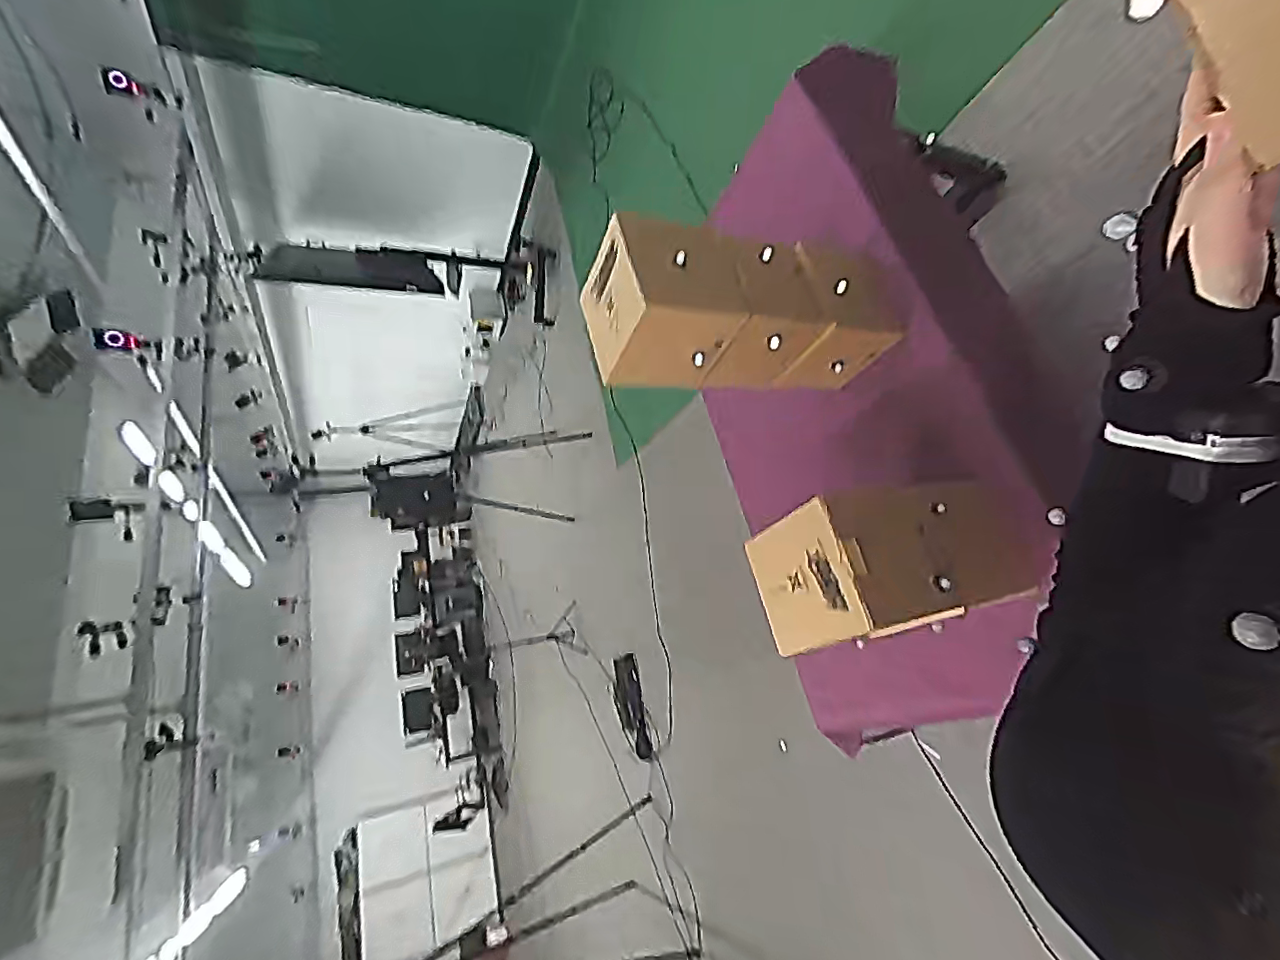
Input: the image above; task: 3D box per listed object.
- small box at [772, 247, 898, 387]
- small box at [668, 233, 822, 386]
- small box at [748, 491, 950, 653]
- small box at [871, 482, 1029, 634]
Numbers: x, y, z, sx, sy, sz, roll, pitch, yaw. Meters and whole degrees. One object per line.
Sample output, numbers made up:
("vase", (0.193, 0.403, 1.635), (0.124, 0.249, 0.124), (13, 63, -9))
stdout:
("small box", (0.321, -0.283, 0.965), (0.168, 0.176, 0.179), (-45, 54, 55))
("small box", (0.174, -0.272, 0.895), (0.179, 0.176, 0.168), (-49, 50, 54))
("small box", (0.283, 0.123, 0.738), (0.179, 0.176, 0.168), (-50, 49, 55))
("small box", (0.429, 0.115, 0.811), (0.168, 0.176, 0.179), (-48, 51, 54))
